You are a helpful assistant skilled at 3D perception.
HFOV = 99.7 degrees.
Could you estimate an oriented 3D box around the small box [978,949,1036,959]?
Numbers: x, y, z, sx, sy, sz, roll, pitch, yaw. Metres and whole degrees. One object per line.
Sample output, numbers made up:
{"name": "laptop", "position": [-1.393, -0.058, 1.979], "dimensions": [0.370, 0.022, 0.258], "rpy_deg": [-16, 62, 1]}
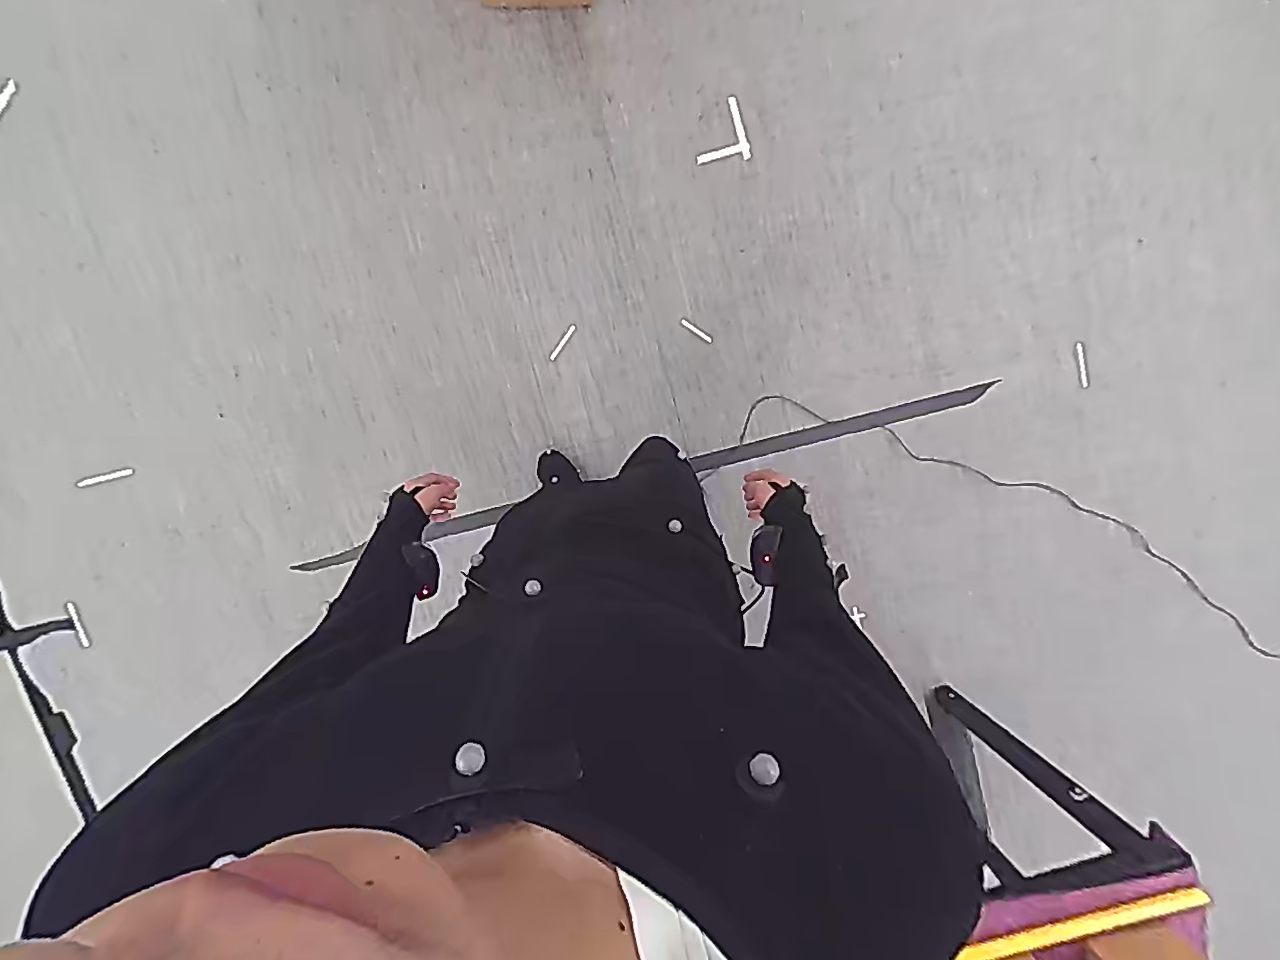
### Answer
{"name": "small box", "position": [0.684, 1.003, 0.969], "dimensions": [0.179, 0.176, 0.168], "rpy_deg": [-12, 97, -3]}

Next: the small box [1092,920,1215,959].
{"name": "small box", "position": [0.963, 0.953, 0.977], "dimensions": [0.179, 0.176, 0.168], "rpy_deg": [-10, 97, -2]}
